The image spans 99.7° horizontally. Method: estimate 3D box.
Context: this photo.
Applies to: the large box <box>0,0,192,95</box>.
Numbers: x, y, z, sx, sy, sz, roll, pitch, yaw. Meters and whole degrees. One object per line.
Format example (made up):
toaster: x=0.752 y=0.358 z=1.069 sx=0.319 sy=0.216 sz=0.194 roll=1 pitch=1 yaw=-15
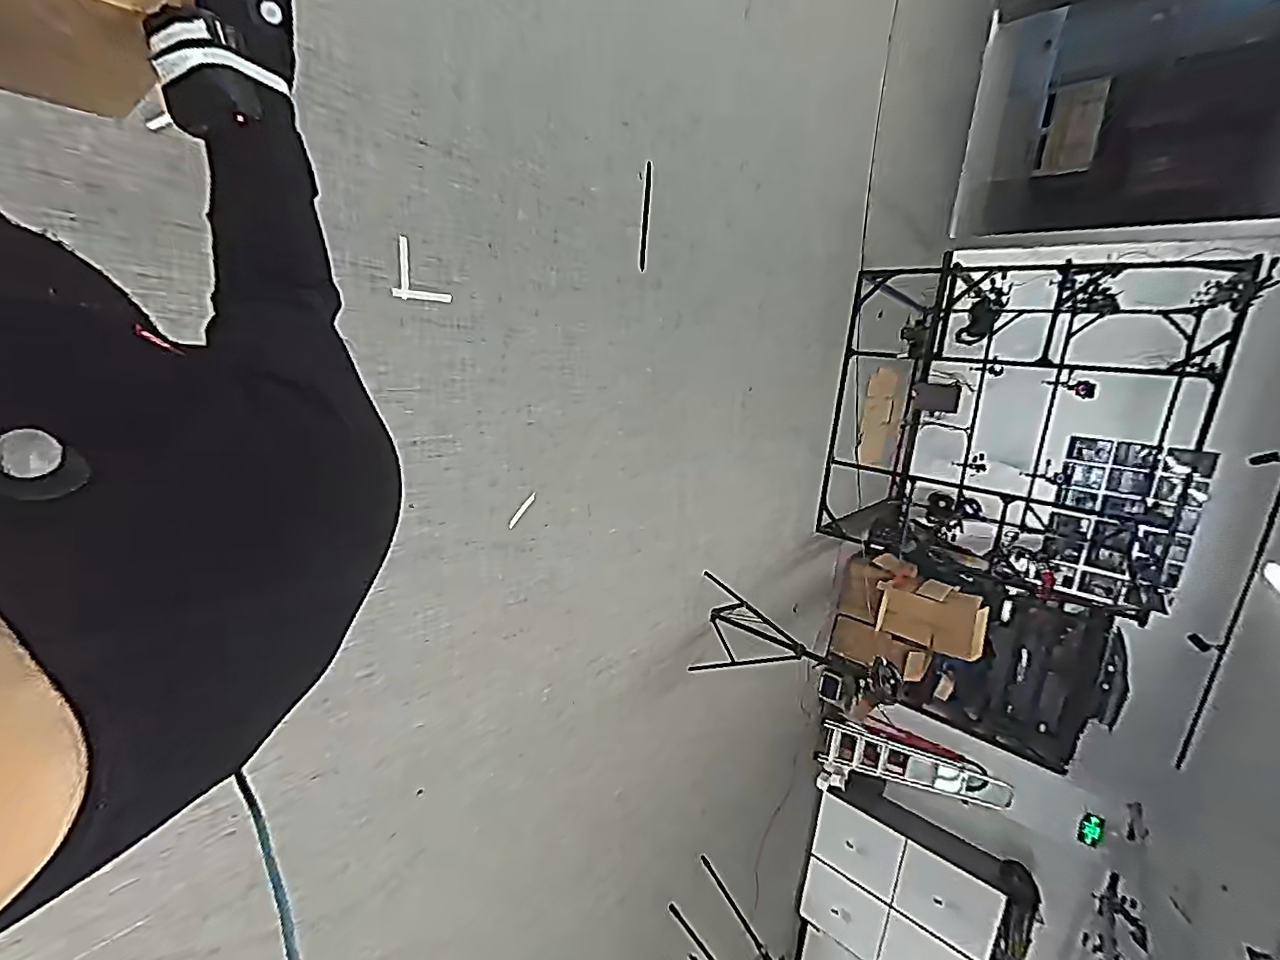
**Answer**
large box: x=-0.558 y=-0.482 z=0.293 sx=0.408 sy=0.320 sz=0.320 roll=-14 pitch=114 yaw=-50
